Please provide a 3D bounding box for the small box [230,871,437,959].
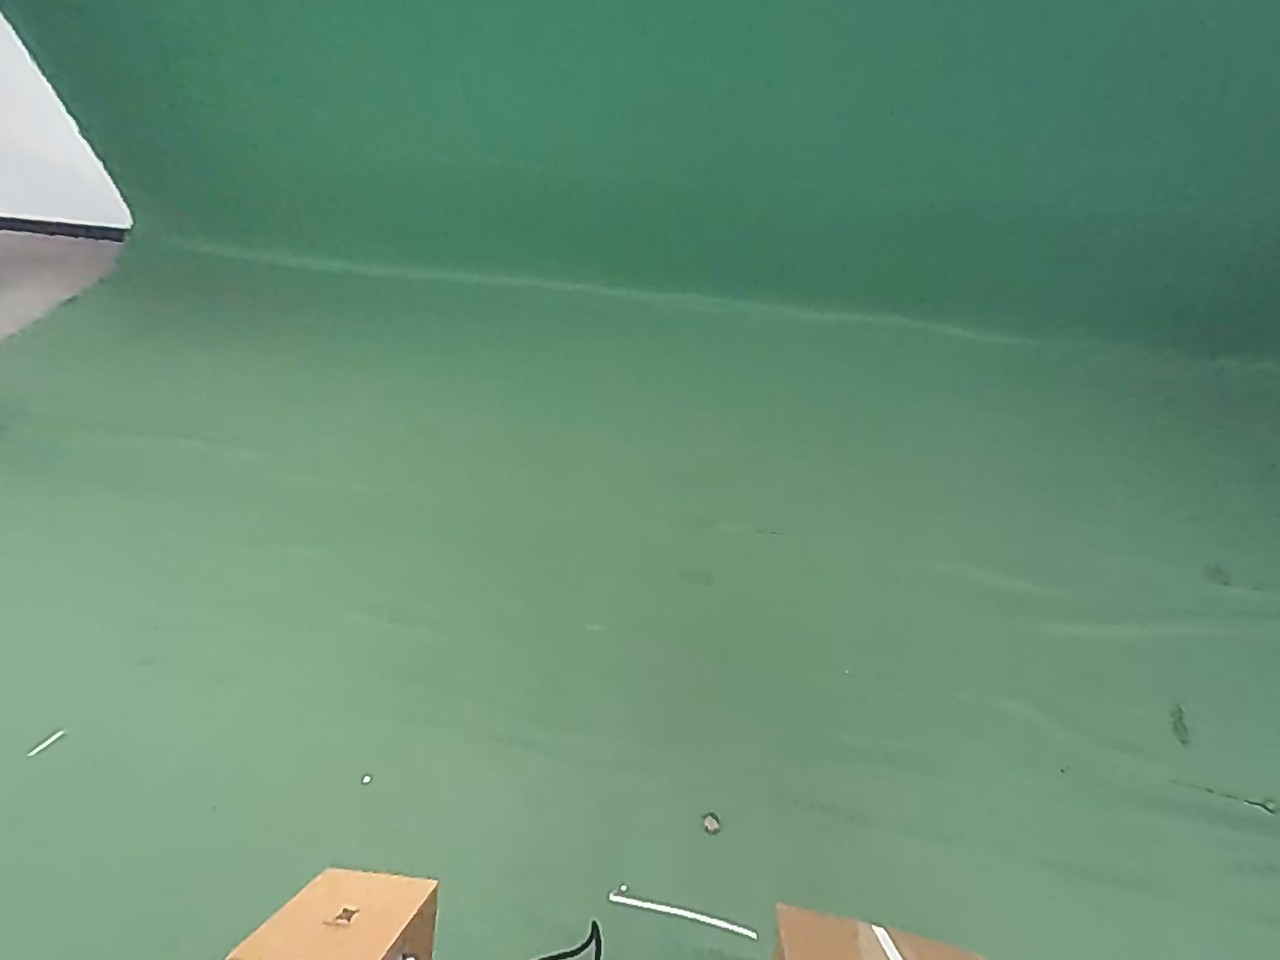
[{"bbox_3d":[-0.371,0.623,0.655,0.168,0.179,0.176,3,84,5],"label":"small box"}]
